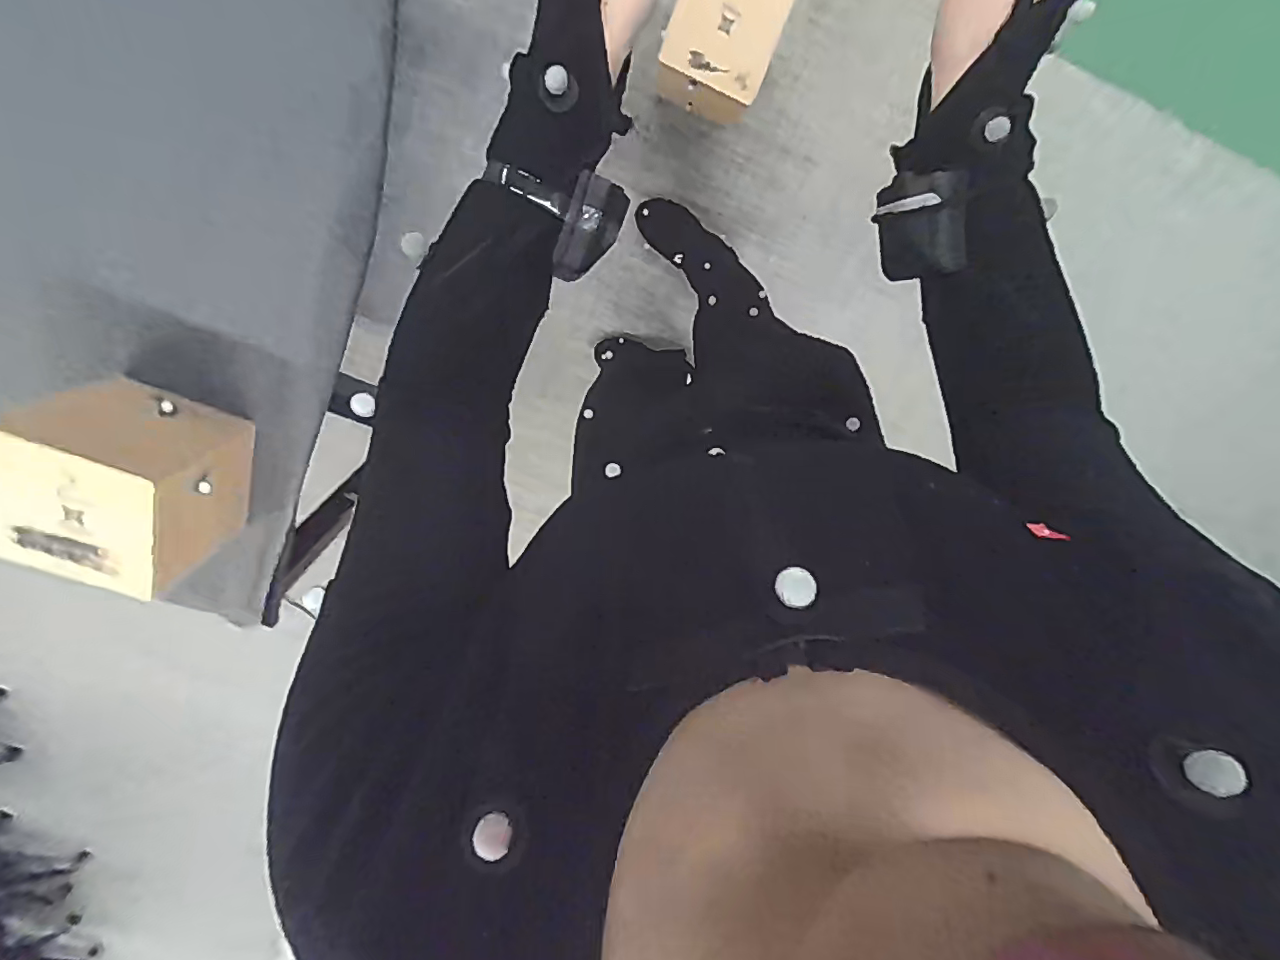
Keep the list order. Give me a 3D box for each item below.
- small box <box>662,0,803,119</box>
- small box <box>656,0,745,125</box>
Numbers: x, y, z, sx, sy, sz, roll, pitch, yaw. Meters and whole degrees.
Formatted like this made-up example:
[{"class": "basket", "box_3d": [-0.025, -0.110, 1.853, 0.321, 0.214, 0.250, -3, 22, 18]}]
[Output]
[{"class": "small box", "box_3d": [0.141, -0.727, 0.883, 0.168, 0.176, 0.179, 21, 116, -11]}, {"class": "small box", "box_3d": [0.140, -0.802, 1.030, 0.179, 0.176, 0.168, 19, 116, -8]}]
